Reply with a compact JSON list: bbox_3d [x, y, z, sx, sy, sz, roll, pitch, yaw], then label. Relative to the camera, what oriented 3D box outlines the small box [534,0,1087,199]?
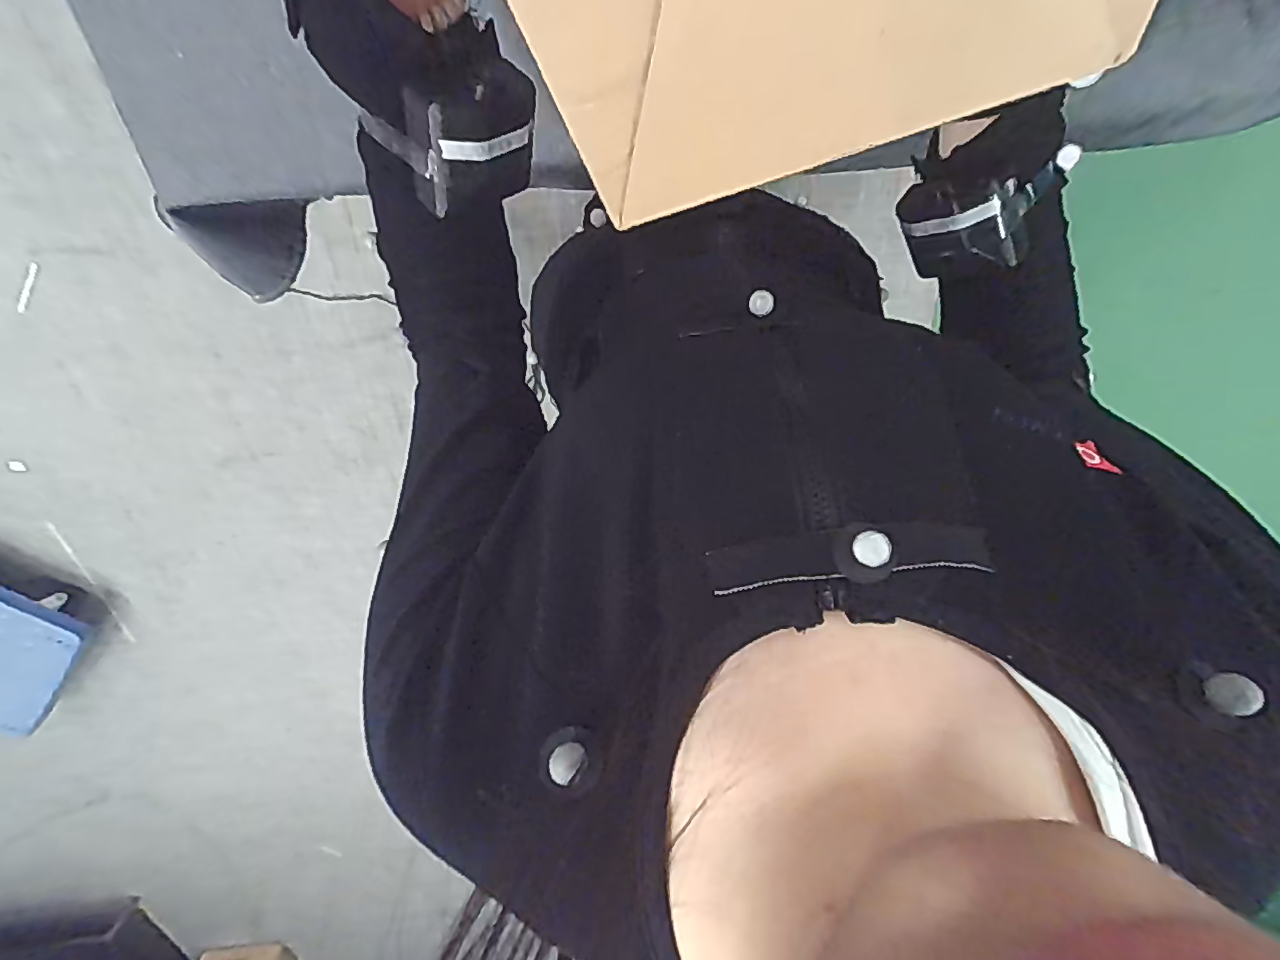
[{"bbox_3d":[0.037,-0.219,0.144,0.168,0.176,0.179,-12,154,17],"label":"small box"}]
